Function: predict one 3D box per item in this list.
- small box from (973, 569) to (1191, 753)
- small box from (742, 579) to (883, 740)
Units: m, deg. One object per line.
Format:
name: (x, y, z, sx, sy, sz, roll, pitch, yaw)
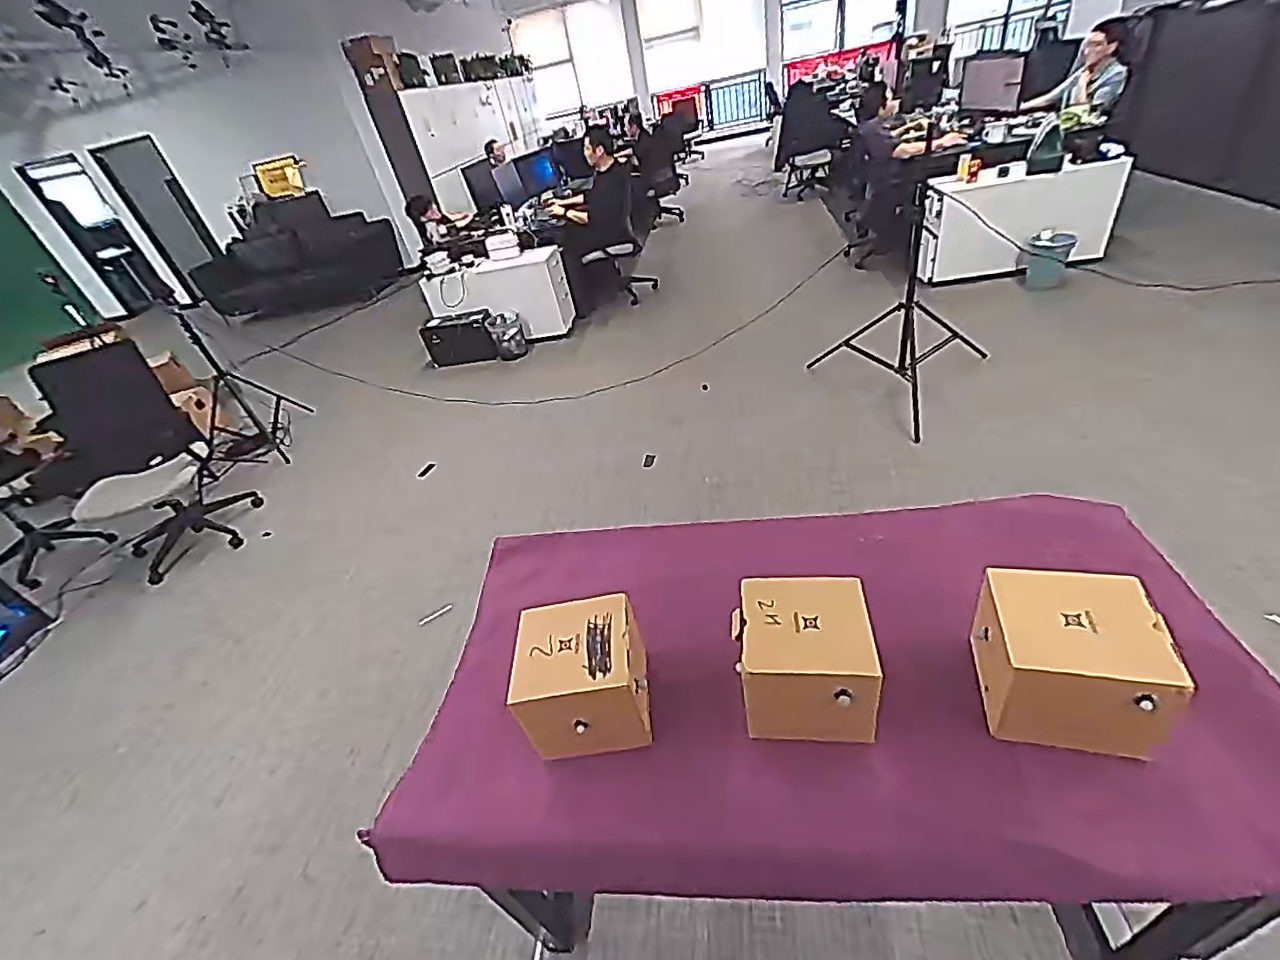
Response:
small box: (0.567, 0.240, 0.729, 0.179, 0.176, 0.168, 1, 38, 19)
small box: (0.246, 0.265, 0.802, 0.179, 0.176, 0.168, -4, 36, 13)
